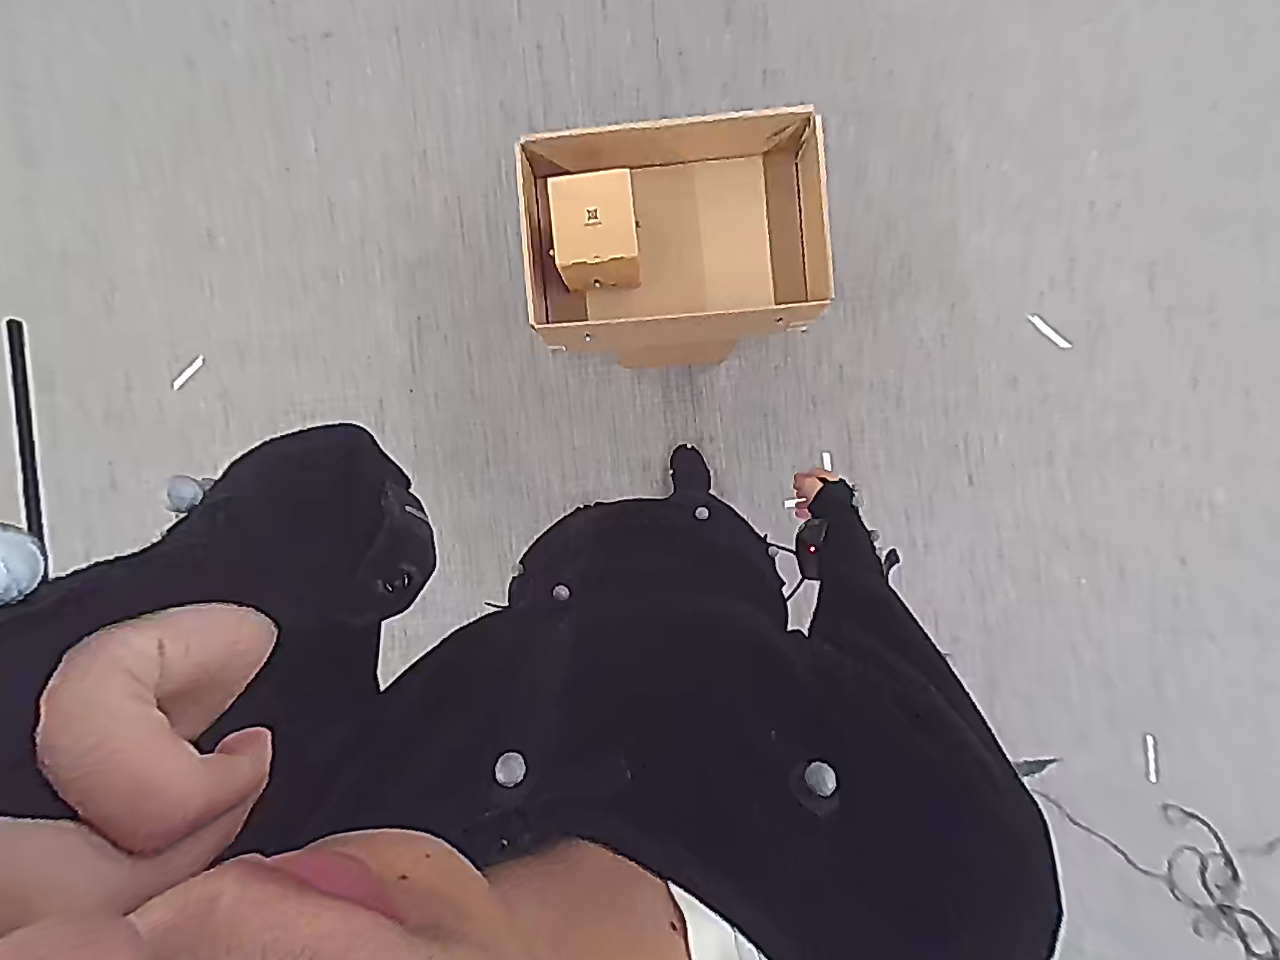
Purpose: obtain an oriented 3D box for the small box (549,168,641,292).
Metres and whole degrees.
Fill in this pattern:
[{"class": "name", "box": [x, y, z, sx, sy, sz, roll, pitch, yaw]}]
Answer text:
[{"class": "small box", "box": [-0.089, -0.515, 1.134, 0.168, 0.176, 0.179, -6, 91, 2]}]
